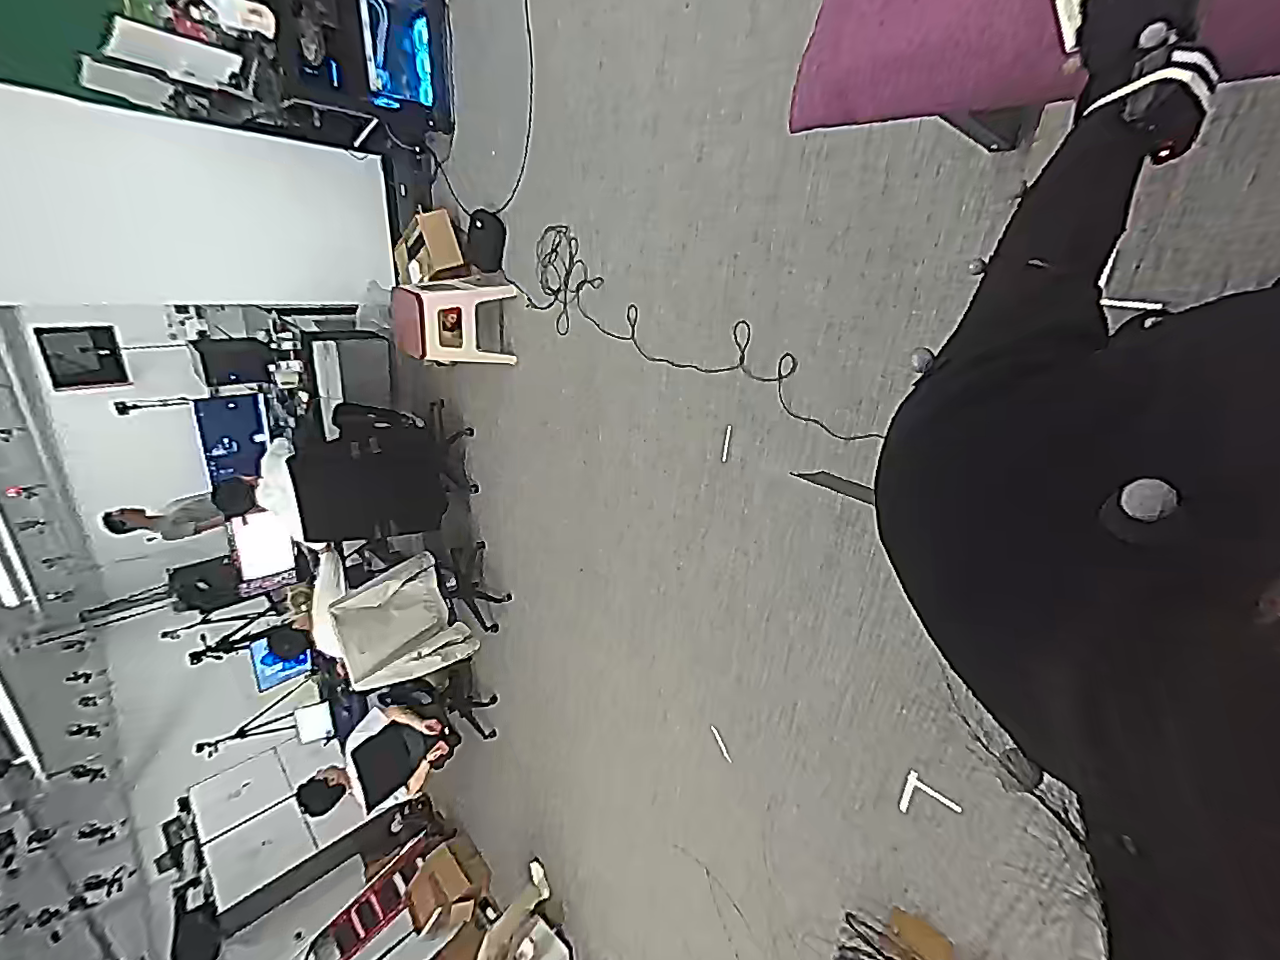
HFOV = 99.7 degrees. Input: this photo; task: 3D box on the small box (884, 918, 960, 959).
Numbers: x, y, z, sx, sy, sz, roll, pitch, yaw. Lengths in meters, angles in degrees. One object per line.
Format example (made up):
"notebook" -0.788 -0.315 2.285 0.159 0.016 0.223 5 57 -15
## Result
"small box" 0.916 1.585 1.753 0.179 0.176 0.168 1 104 46
